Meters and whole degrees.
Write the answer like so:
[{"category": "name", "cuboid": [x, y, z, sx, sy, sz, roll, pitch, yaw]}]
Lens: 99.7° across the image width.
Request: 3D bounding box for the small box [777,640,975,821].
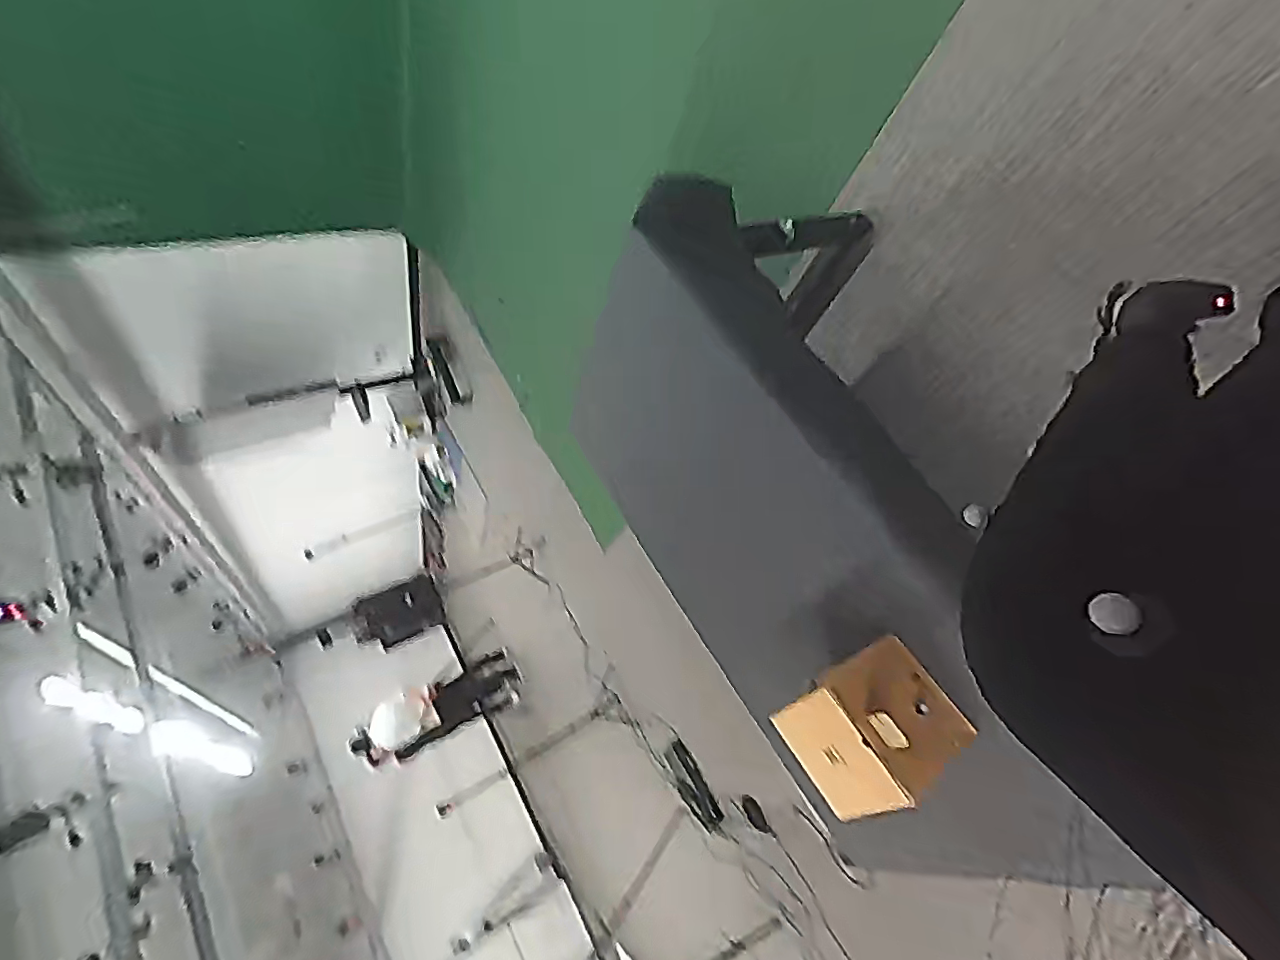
[{"category": "small box", "cuboid": [0.347, 0.370, 0.807, 0.168, 0.176, 0.179, 54, 146, 24]}]
